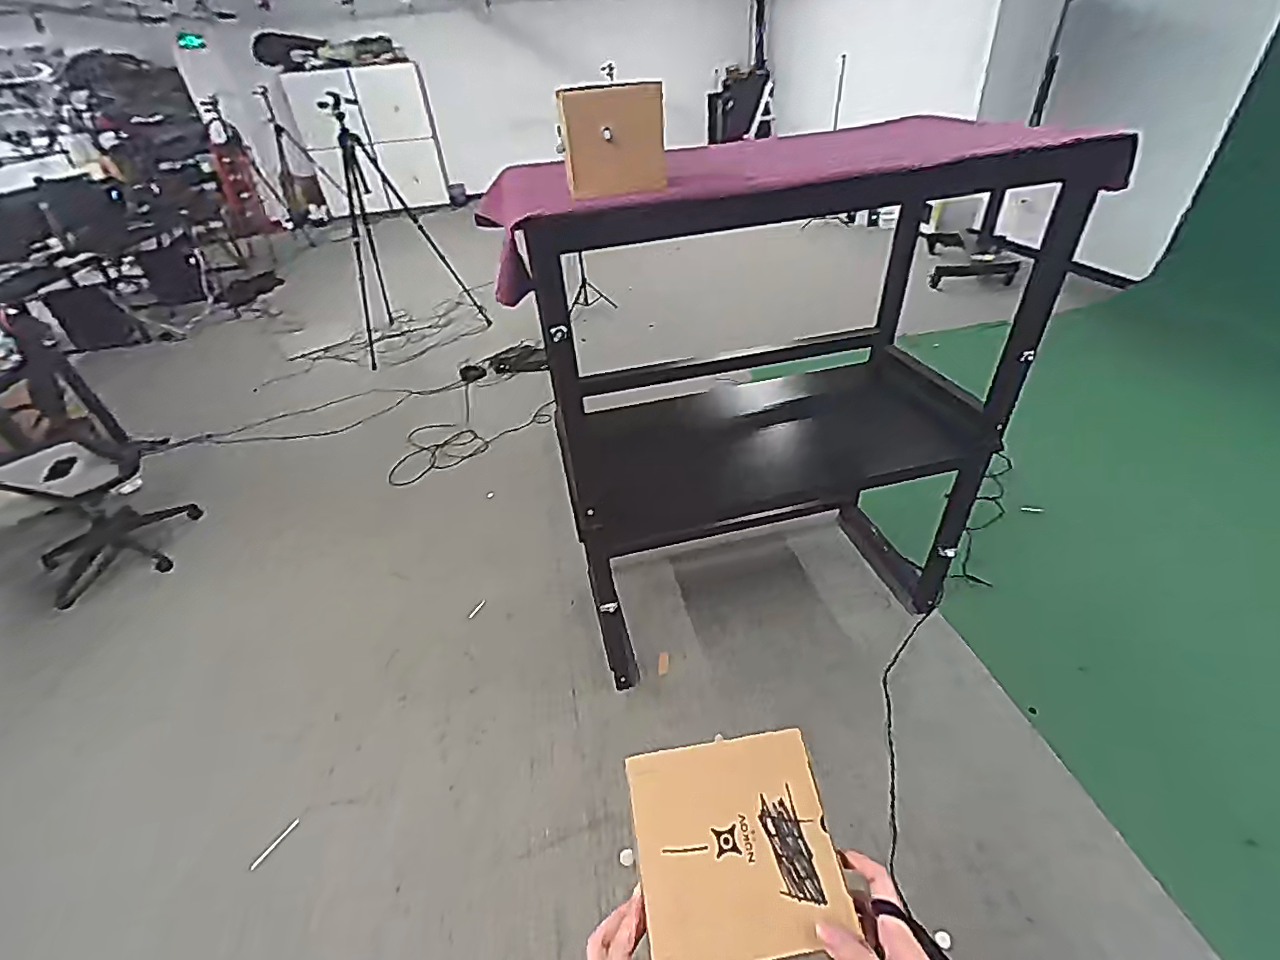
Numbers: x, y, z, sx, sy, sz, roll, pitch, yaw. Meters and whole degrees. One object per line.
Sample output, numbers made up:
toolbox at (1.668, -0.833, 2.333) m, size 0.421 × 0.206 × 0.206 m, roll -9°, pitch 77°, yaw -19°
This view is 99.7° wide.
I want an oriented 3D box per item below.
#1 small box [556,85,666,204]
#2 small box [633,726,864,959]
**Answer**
small box at (-0.055, -0.631, 1.018) m, size 0.179 × 0.176 × 0.168 m, roll -10°, pitch 38°, yaw -5°
small box at (0.088, 0.361, 0.542) m, size 0.179 × 0.176 × 0.168 m, roll -7°, pitch 53°, yaw -5°
